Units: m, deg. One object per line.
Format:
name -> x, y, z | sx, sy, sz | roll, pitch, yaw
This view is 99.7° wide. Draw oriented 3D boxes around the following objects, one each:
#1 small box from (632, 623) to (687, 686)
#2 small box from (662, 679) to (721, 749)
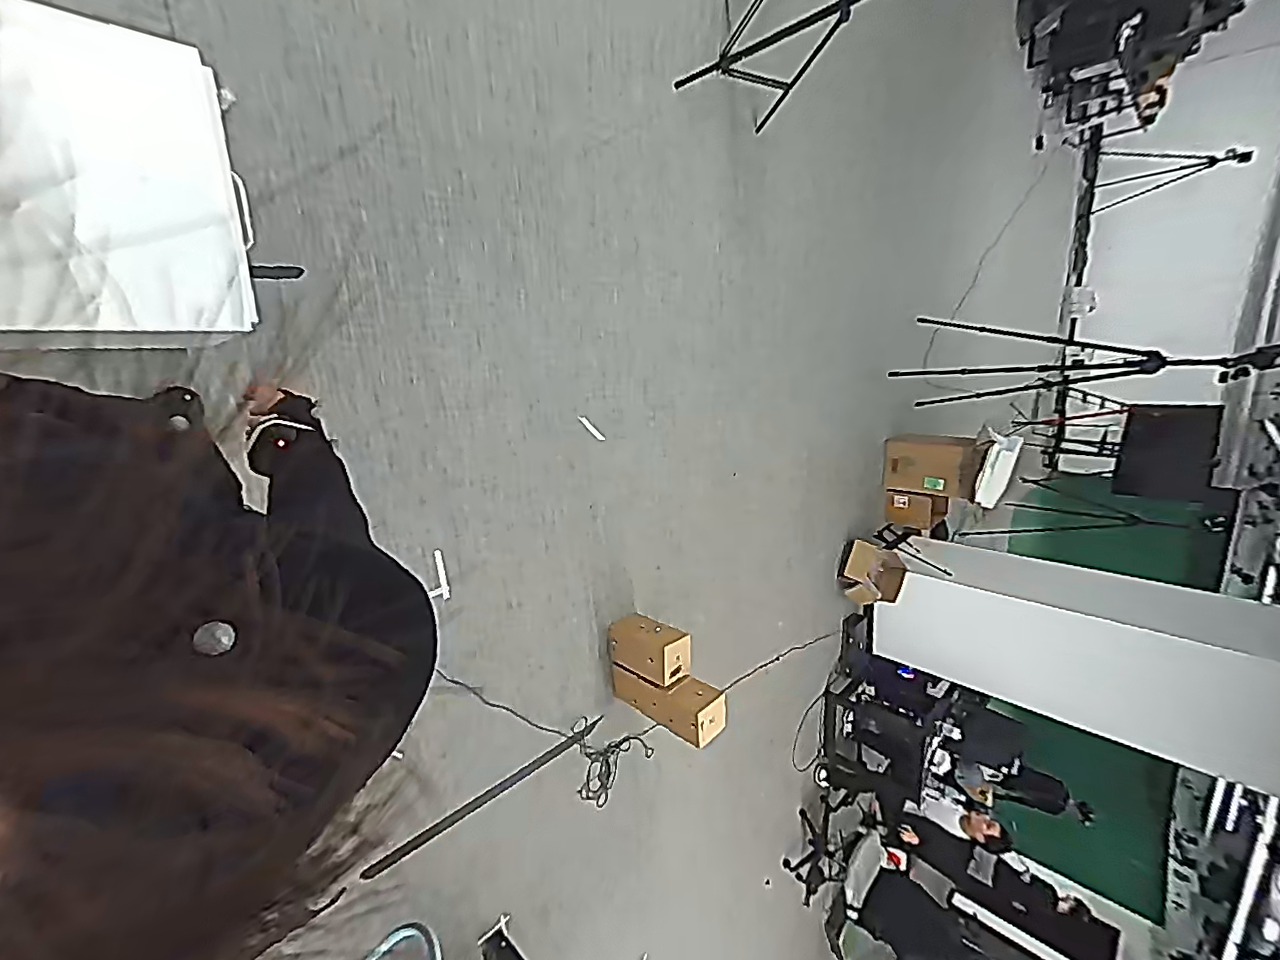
small box -> 0.080, 0.726, 2.267 | 0.168, 0.176, 0.179 | -10, 103, -44
small box -> 0.211, 0.946, 2.207 | 0.179, 0.176, 0.168 | -18, 110, -43
